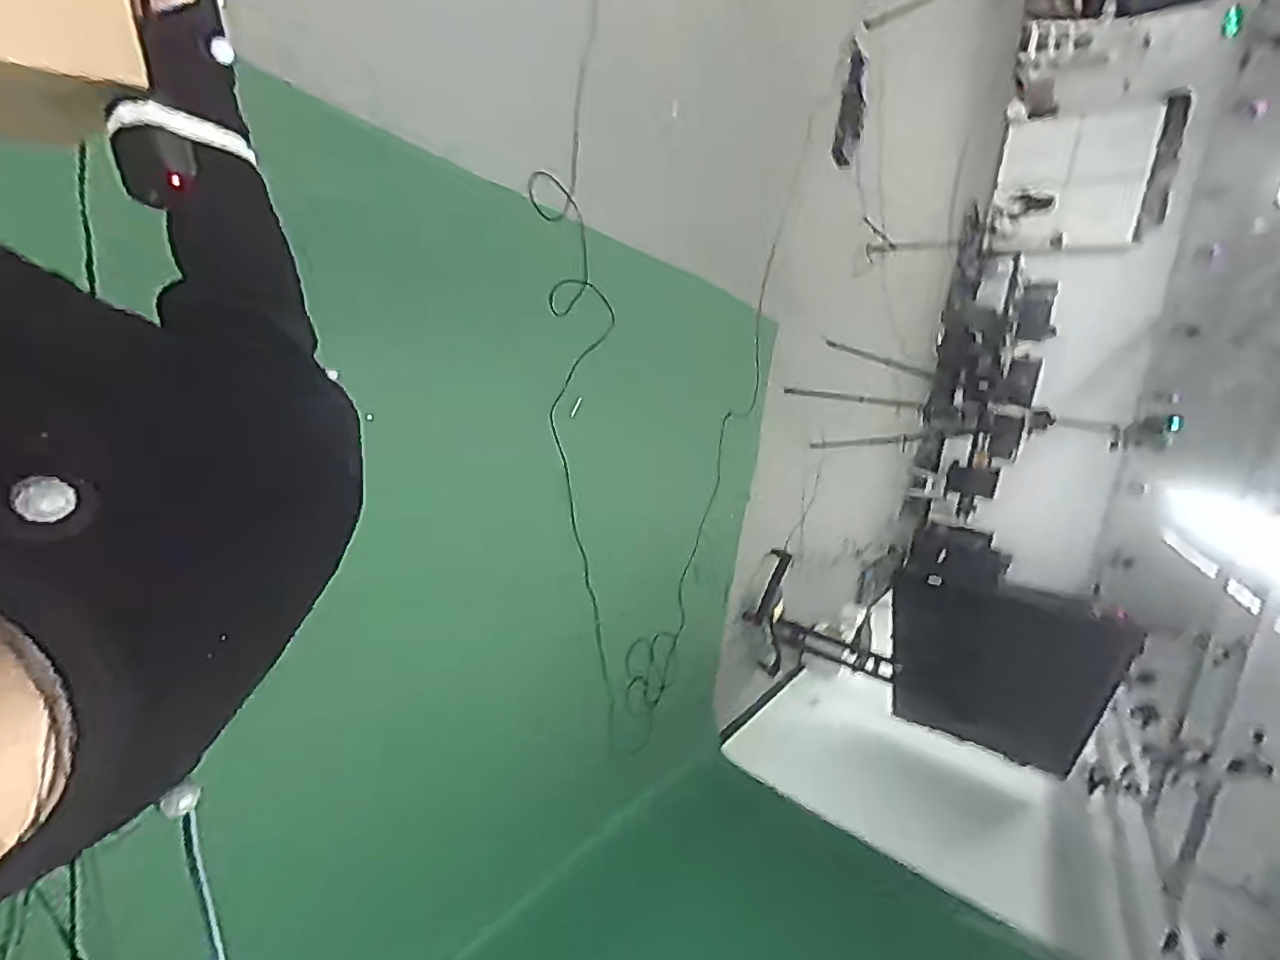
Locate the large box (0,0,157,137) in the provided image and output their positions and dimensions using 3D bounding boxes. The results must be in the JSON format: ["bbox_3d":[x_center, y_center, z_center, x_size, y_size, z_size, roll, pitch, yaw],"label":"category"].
[{"bbox_3d":[-0.613,-0.427,0.312,0.408,0.320,0.320,-23,119,-47],"label":"large box"}]
